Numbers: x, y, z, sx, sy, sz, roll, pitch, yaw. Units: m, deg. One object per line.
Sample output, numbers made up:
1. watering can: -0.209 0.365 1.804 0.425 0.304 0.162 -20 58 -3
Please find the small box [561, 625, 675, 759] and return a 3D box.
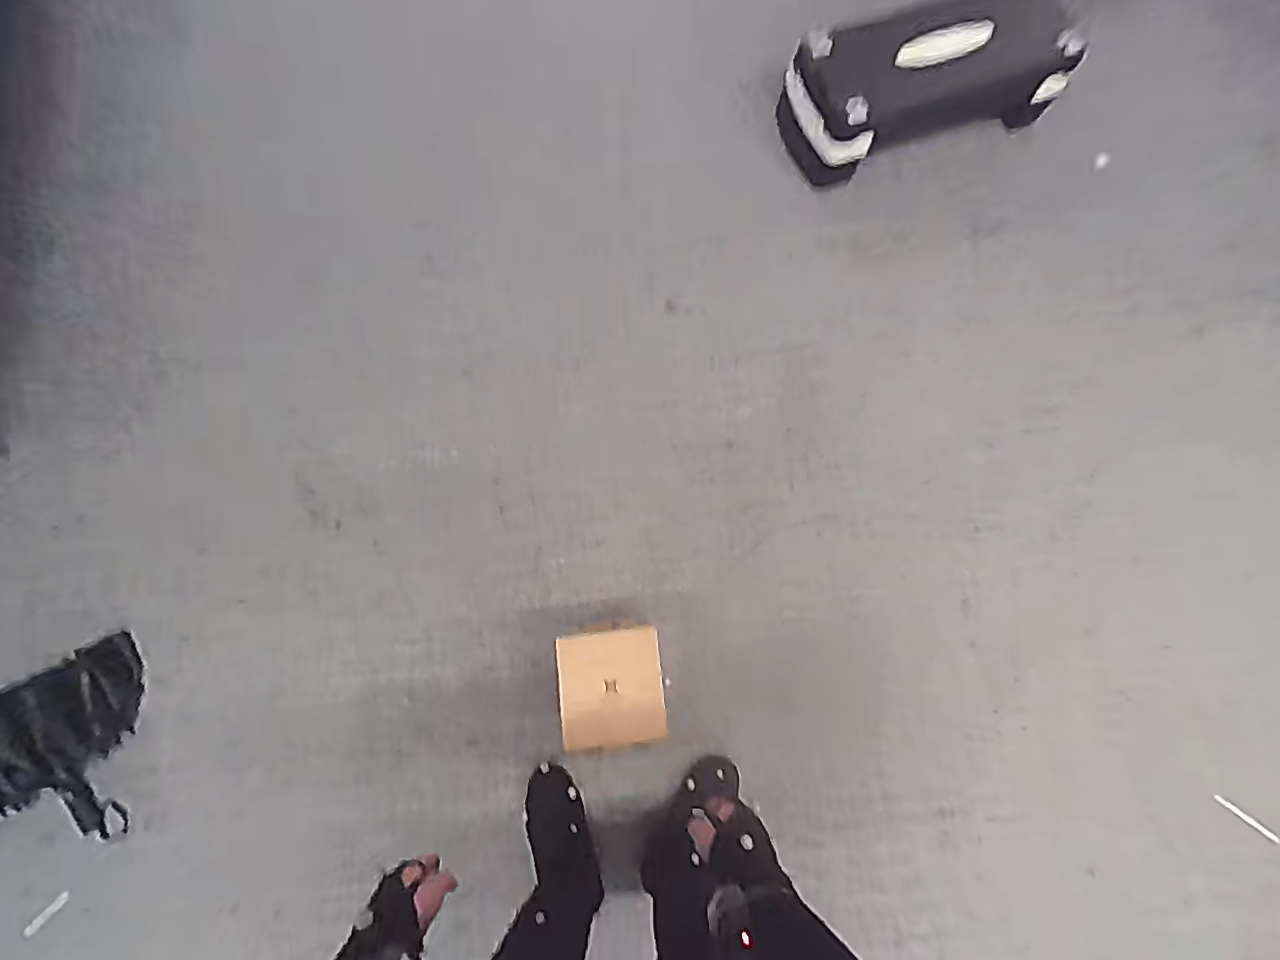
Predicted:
1. small box: -0.034 0.349 0.921 0.168 0.176 0.179 -8 77 -2
